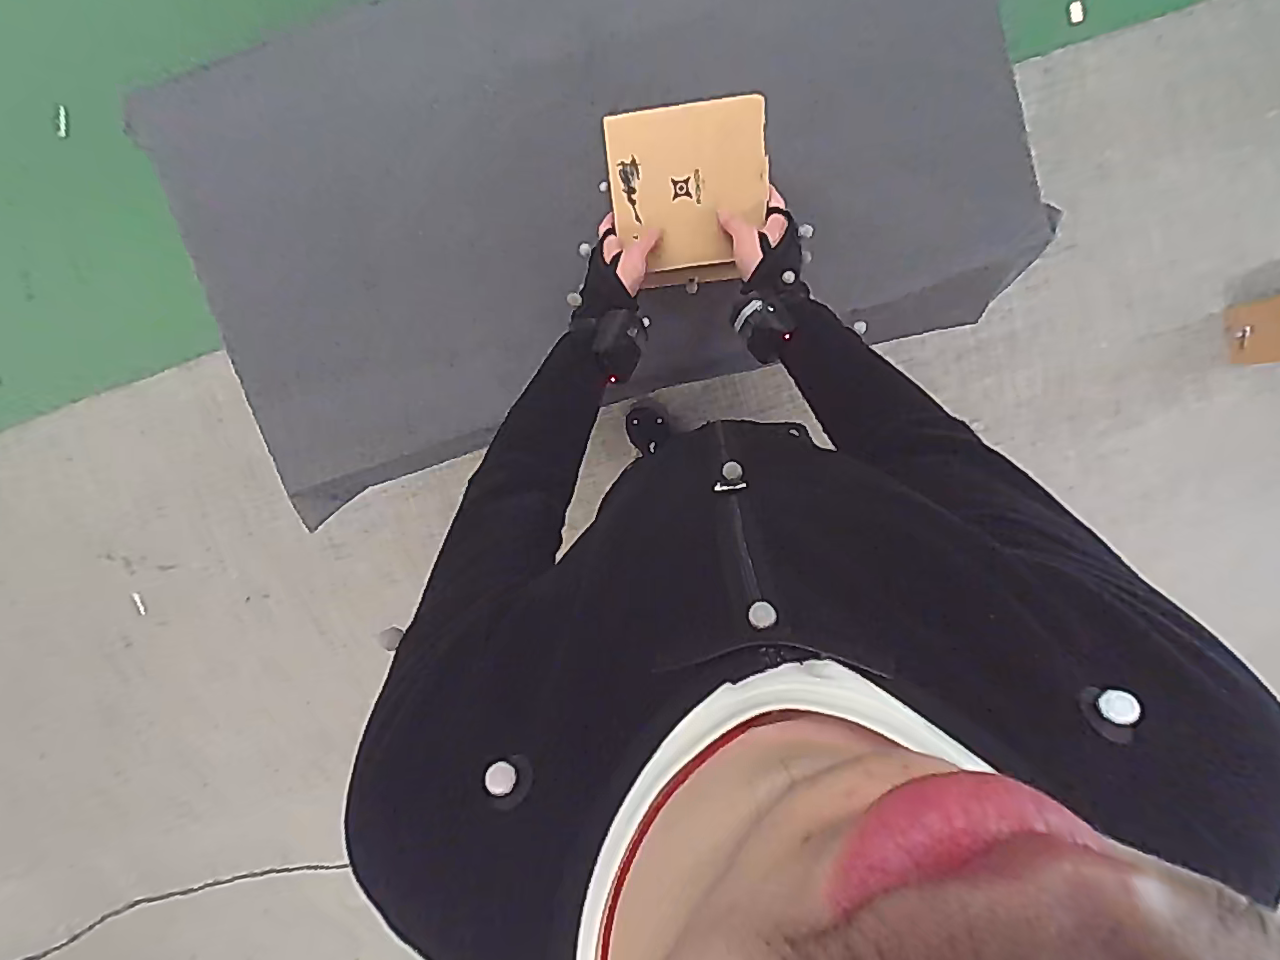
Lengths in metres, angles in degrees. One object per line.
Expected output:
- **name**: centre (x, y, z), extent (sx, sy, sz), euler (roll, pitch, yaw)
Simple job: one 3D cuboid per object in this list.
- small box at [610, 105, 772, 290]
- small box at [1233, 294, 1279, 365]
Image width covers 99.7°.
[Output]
- **small box**: centre (0.061, -0.340, 0.682), extent (0.179, 0.176, 0.168), euler (-5, 104, 3)
- **small box**: centre (1.719, -0.407, 1.400), extent (0.179, 0.176, 0.168), euler (-16, 95, 3)
